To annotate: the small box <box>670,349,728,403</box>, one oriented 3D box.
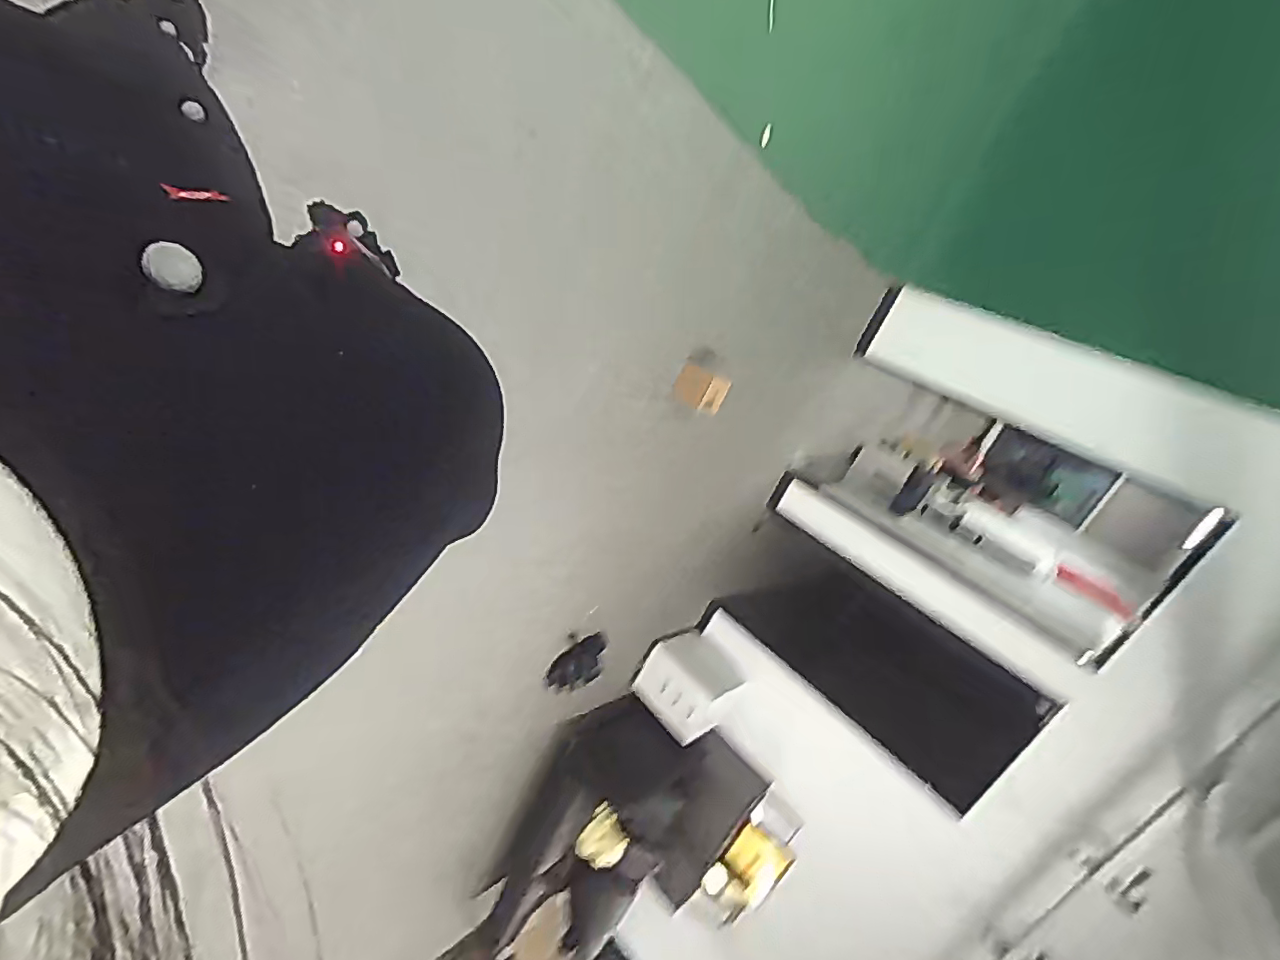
[{"bbox_3d":[0.263,-0.470,2.461,0.168,0.176,0.179,-2,123,-51],"label":"small box"}]
